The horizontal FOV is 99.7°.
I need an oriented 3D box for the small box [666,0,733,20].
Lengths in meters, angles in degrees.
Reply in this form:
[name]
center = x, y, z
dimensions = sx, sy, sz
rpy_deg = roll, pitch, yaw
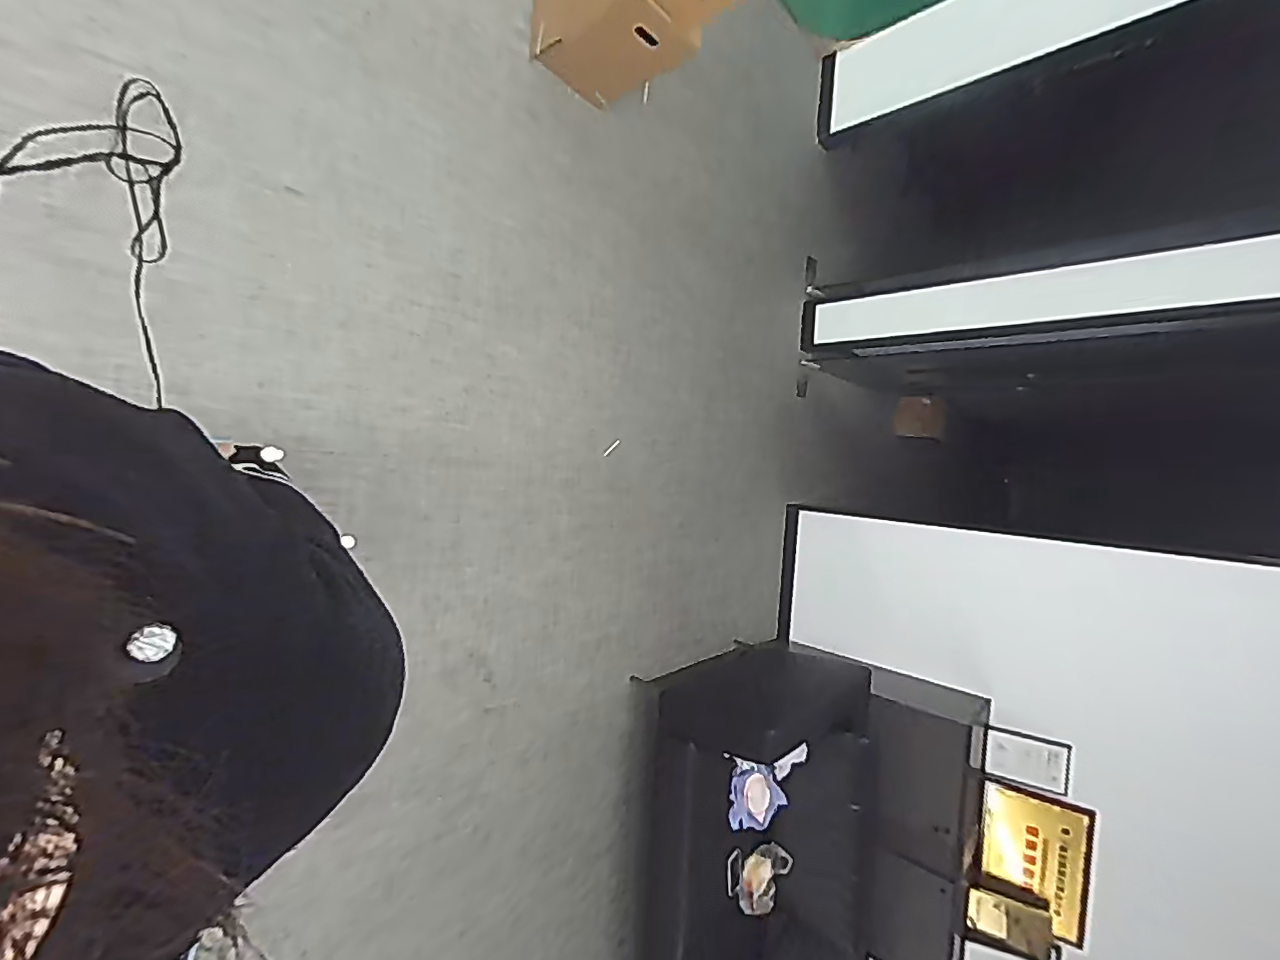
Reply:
[small box]
center = 0.152, -1.398, 1.456
dimensions = 0.179, 0.176, 0.168
rpy_deg = 1, 93, -47
